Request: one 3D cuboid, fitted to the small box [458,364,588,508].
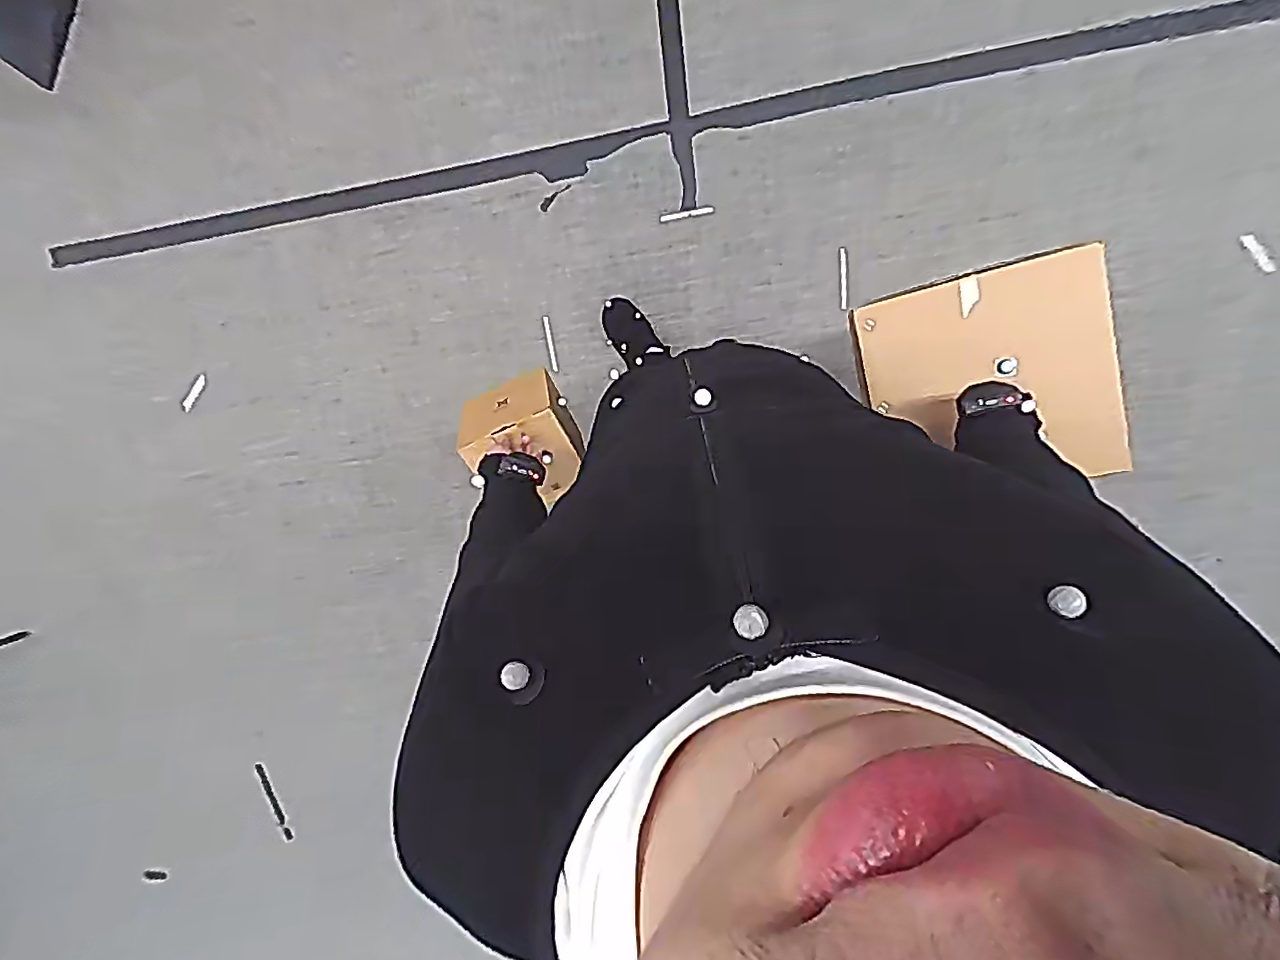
[{"bbox_3d":[-0.205,-0.072,0.968,0.168,0.179,0.176,-24,128,3],"label":"small box"}]
